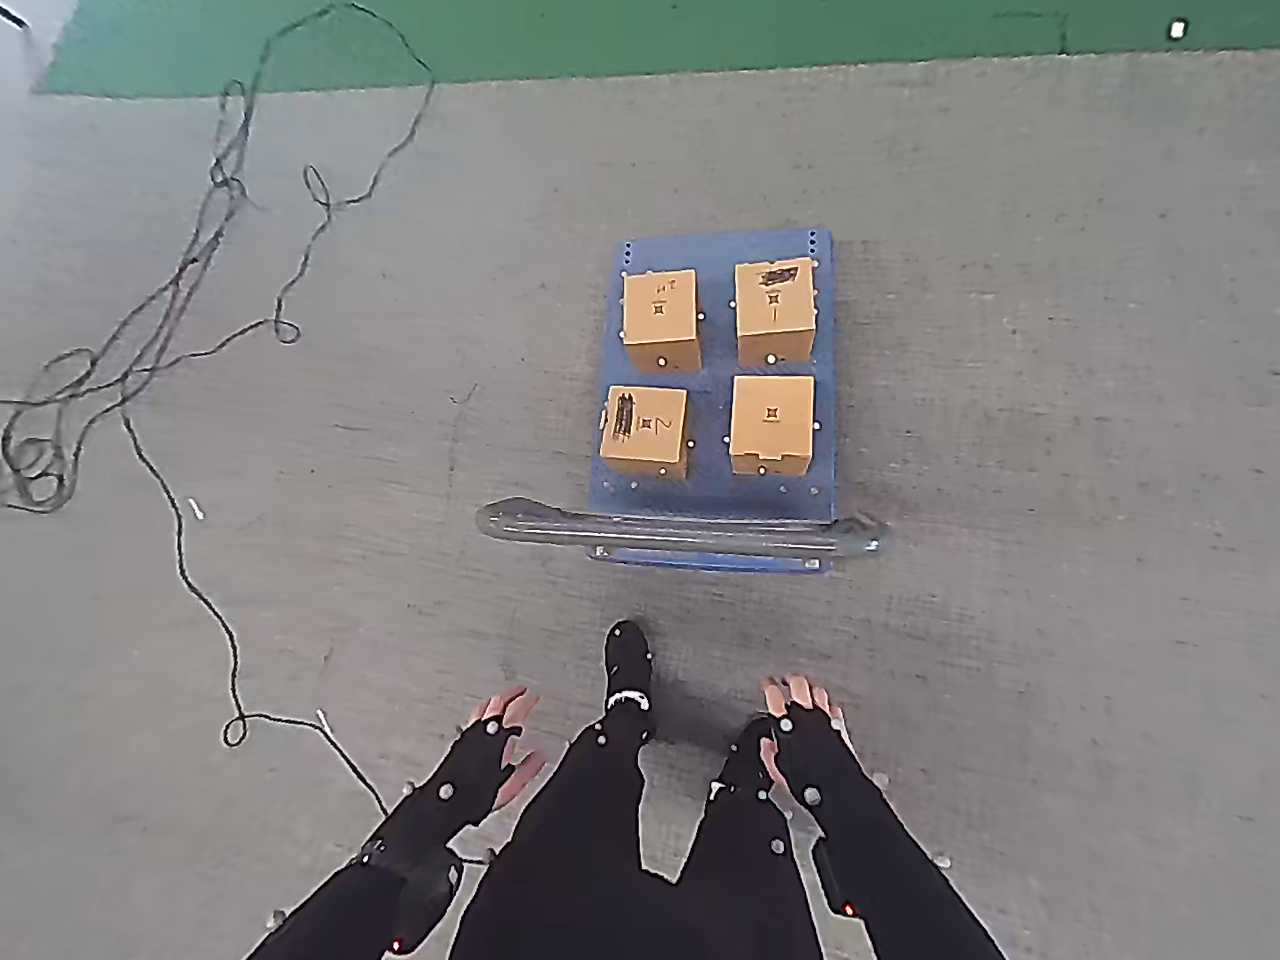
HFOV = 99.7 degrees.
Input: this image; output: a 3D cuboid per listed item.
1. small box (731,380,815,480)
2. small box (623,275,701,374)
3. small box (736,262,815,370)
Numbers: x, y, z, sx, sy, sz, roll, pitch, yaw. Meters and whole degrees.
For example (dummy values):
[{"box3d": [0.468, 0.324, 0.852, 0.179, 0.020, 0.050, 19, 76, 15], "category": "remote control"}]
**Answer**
[{"box3d": [0.288, -0.108, 1.195, 0.168, 0.176, 0.179, 3, 79, 12], "category": "small box"}, {"box3d": [0.059, -0.363, 1.297, 0.168, 0.176, 0.179, -1, 77, 10], "category": "small box"}, {"box3d": [0.307, -0.372, 1.249, 0.168, 0.176, 0.179, -2, 78, 12], "category": "small box"}]
